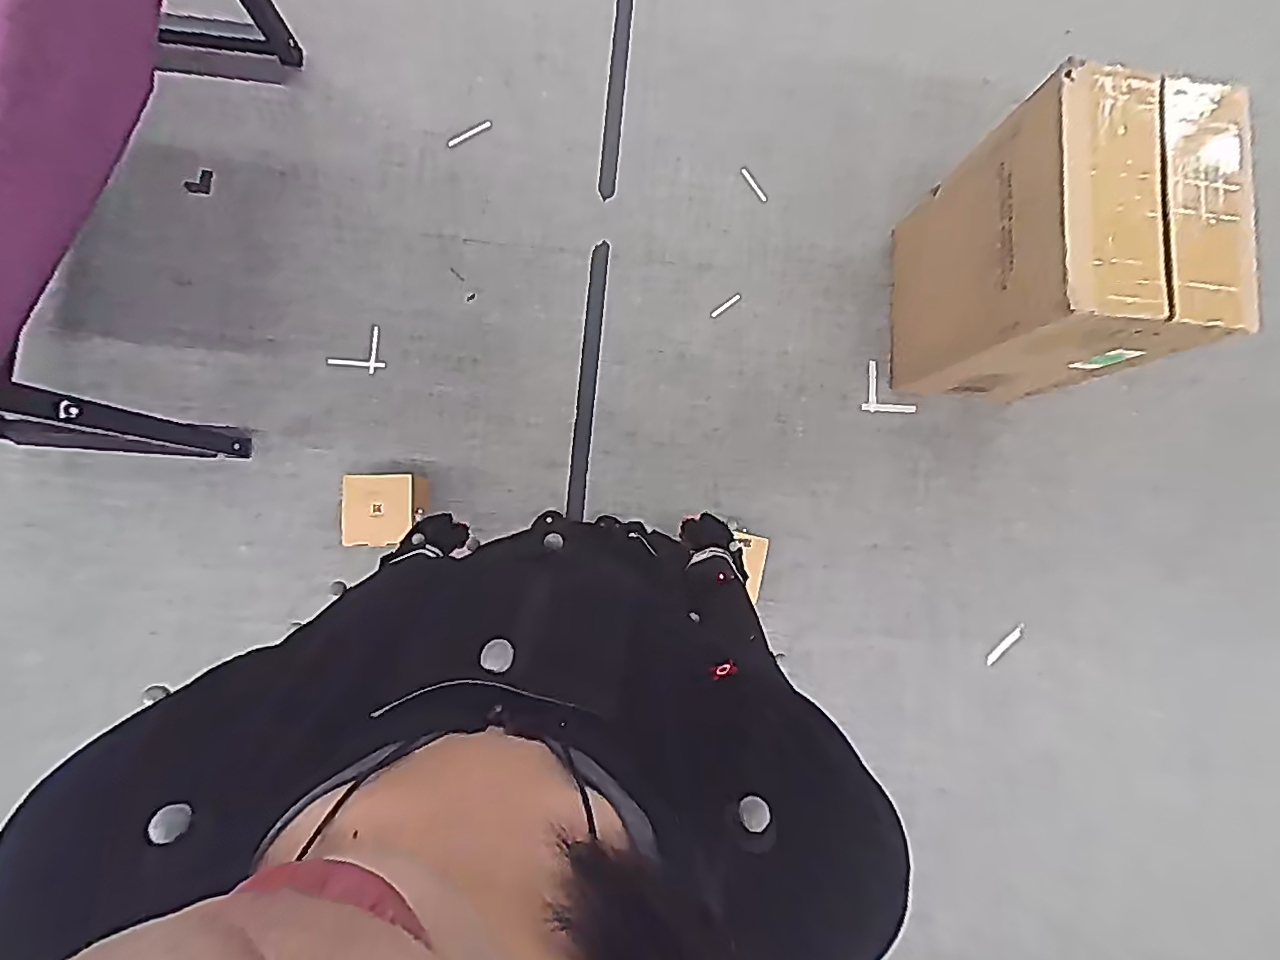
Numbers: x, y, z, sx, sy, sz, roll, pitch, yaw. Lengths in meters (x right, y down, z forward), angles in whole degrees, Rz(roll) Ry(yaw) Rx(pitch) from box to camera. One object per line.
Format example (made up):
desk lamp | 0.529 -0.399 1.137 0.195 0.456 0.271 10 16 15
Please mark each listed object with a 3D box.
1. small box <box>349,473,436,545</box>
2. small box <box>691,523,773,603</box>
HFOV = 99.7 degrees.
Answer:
small box | -0.638 0.076 1.413 0.168 0.176 0.179 -2 85 -6
small box | 0.243 0.221 1.472 0.168 0.176 0.179 14 85 -4
